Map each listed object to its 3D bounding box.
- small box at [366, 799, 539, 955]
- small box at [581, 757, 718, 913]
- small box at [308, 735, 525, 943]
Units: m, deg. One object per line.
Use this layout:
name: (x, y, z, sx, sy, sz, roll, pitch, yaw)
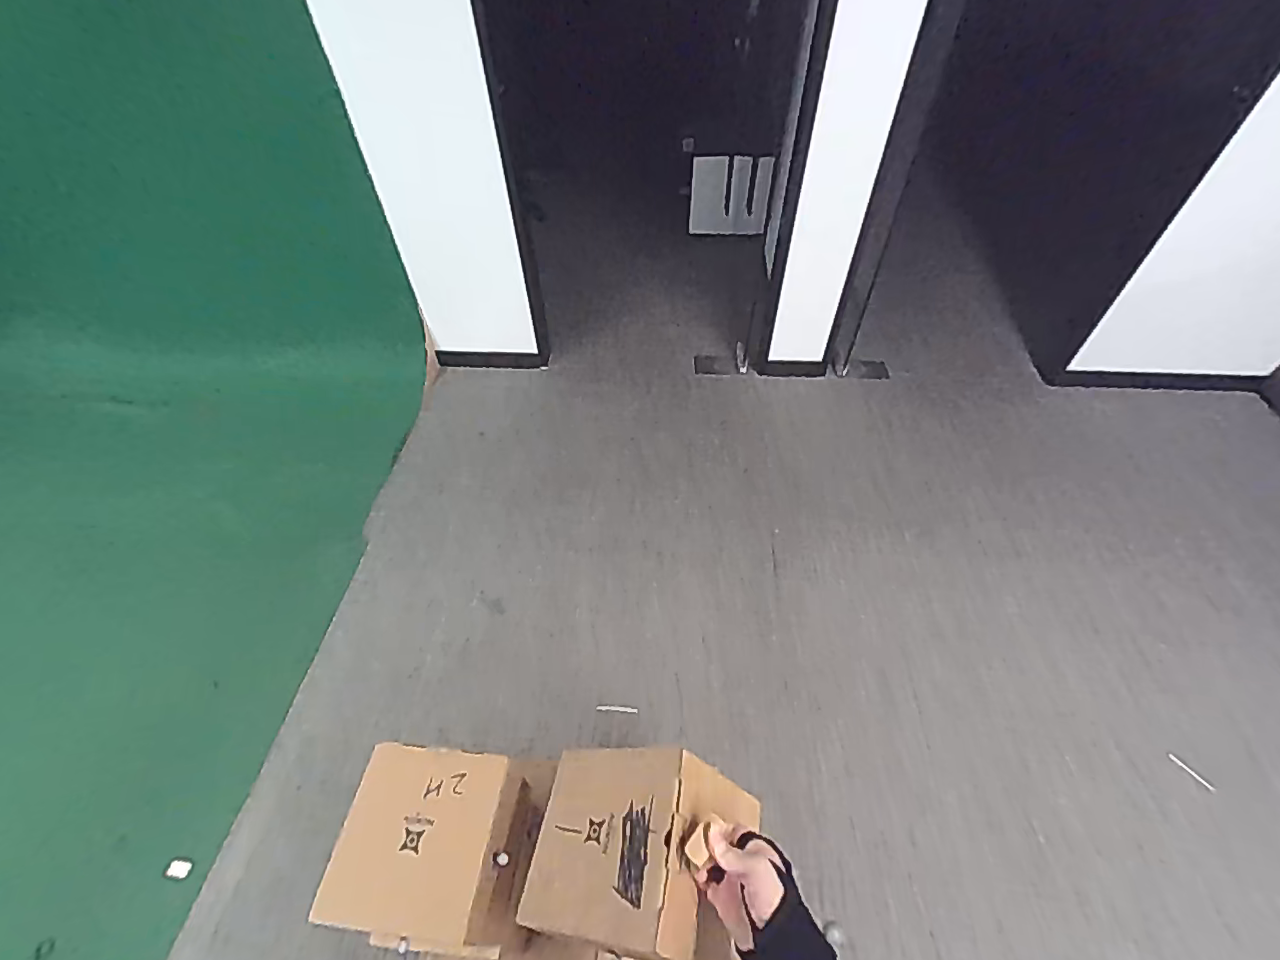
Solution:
small box: (-0.249, 0.552, 0.774, 0.168, 0.176, 0.179, 4, 50, 4)
small box: (0.019, 0.523, 0.794, 0.179, 0.176, 0.168, 1, 48, 4)
small box: (-0.248, 0.435, 0.657, 0.168, 0.176, 0.179, 6, 50, 4)
